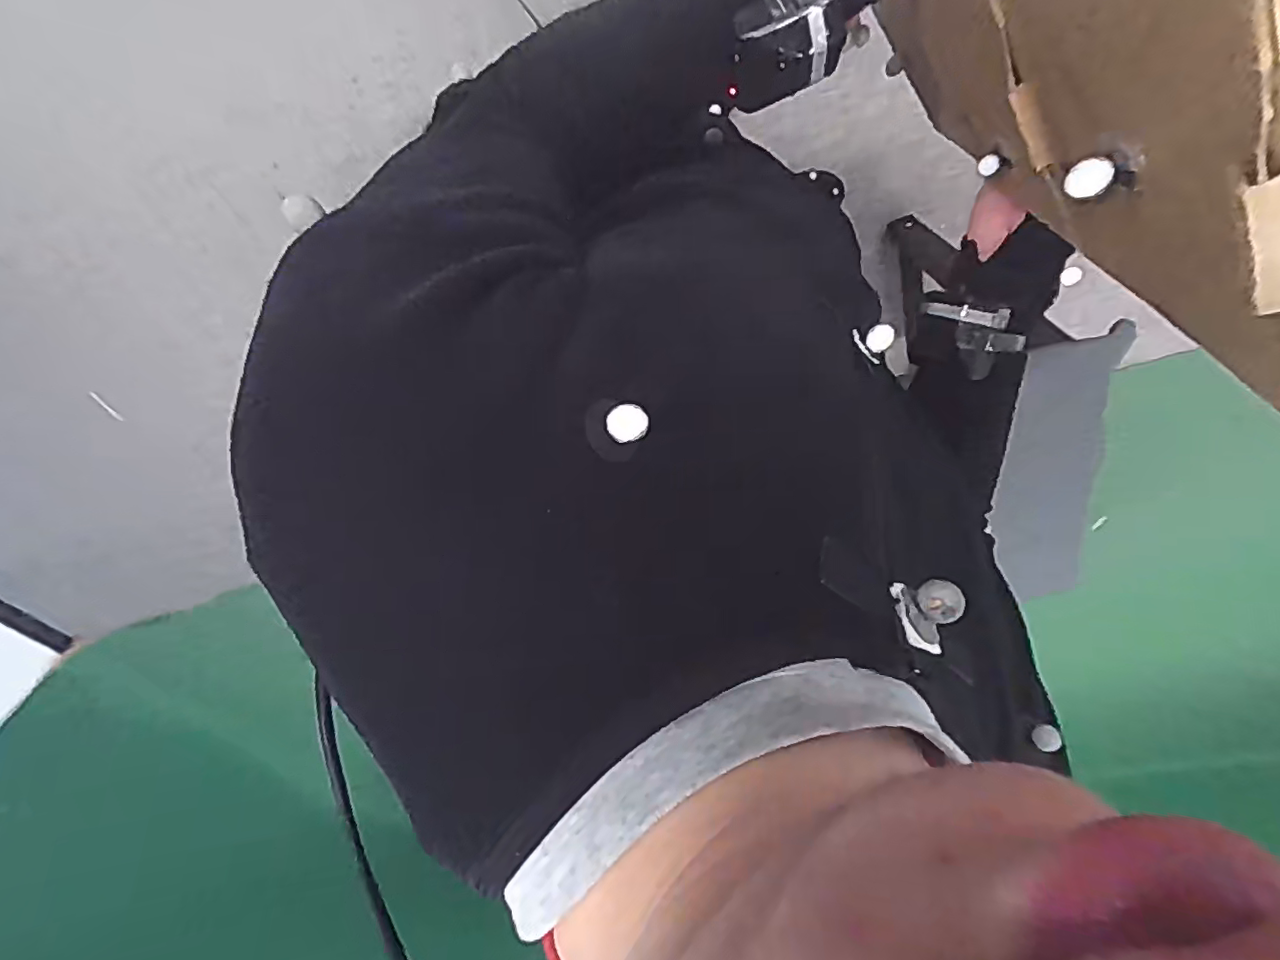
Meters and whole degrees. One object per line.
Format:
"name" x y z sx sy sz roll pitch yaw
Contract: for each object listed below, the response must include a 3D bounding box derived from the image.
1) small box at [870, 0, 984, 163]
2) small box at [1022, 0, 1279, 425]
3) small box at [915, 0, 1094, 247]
"small box" 0.289 -0.378 0.394 0.179 0.176 0.168 -32 120 33
"small box" 0.249 -0.153 0.161 0.179 0.176 0.168 -28 124 32
"small box" 0.267 -0.266 0.279 0.179 0.176 0.168 -31 122 31
